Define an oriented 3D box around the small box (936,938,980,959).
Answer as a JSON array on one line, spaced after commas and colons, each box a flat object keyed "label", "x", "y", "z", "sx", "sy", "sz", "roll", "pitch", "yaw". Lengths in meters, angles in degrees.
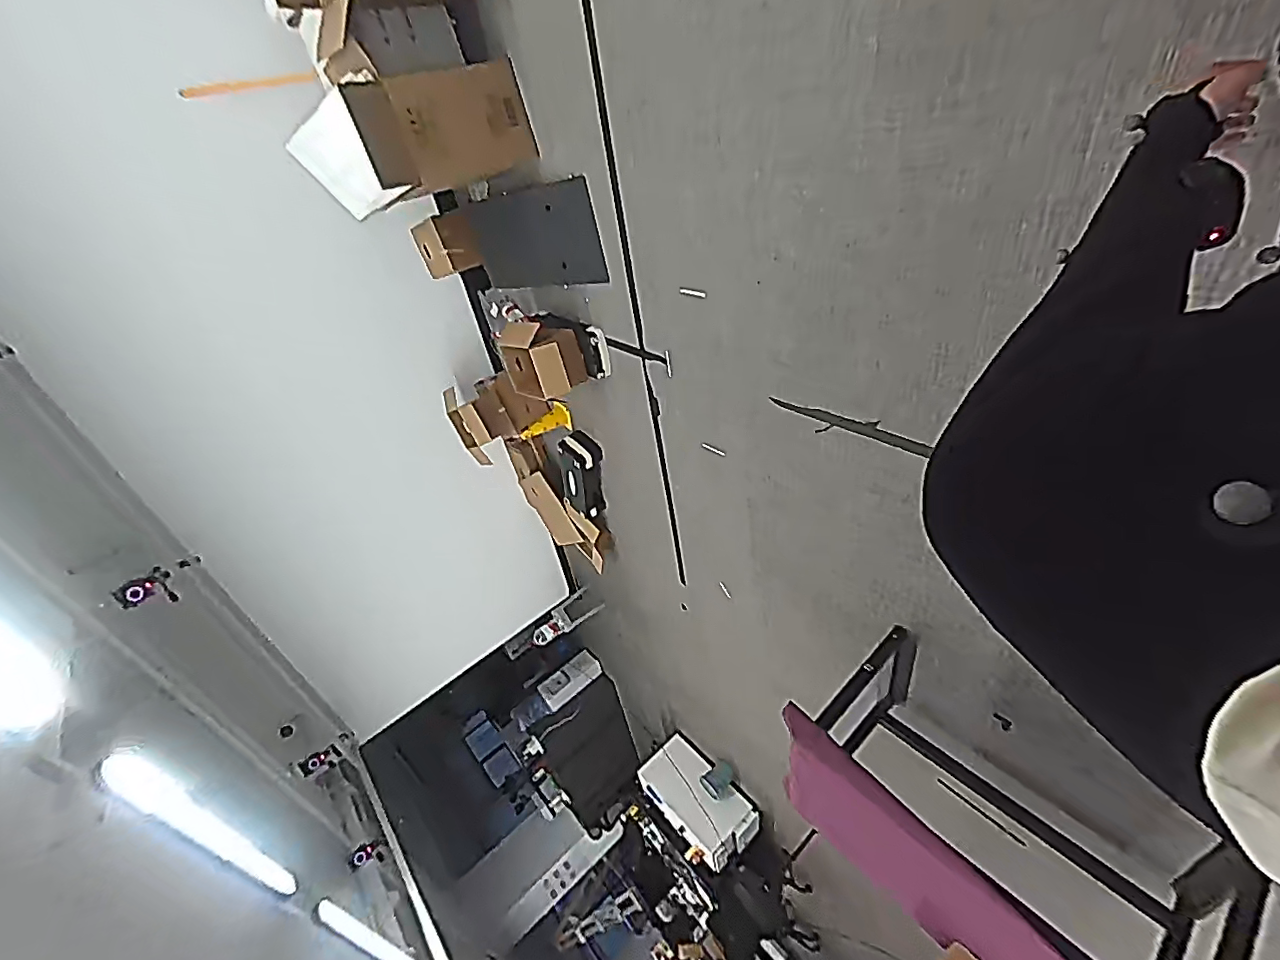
[{"label": "small box", "x": 1.078, "y": 1.697, "z": 1.813, "sx": 0.168, "sy": 0.176, "sz": 0.179, "roll": 33, "pitch": 144, "yaw": 40}]
